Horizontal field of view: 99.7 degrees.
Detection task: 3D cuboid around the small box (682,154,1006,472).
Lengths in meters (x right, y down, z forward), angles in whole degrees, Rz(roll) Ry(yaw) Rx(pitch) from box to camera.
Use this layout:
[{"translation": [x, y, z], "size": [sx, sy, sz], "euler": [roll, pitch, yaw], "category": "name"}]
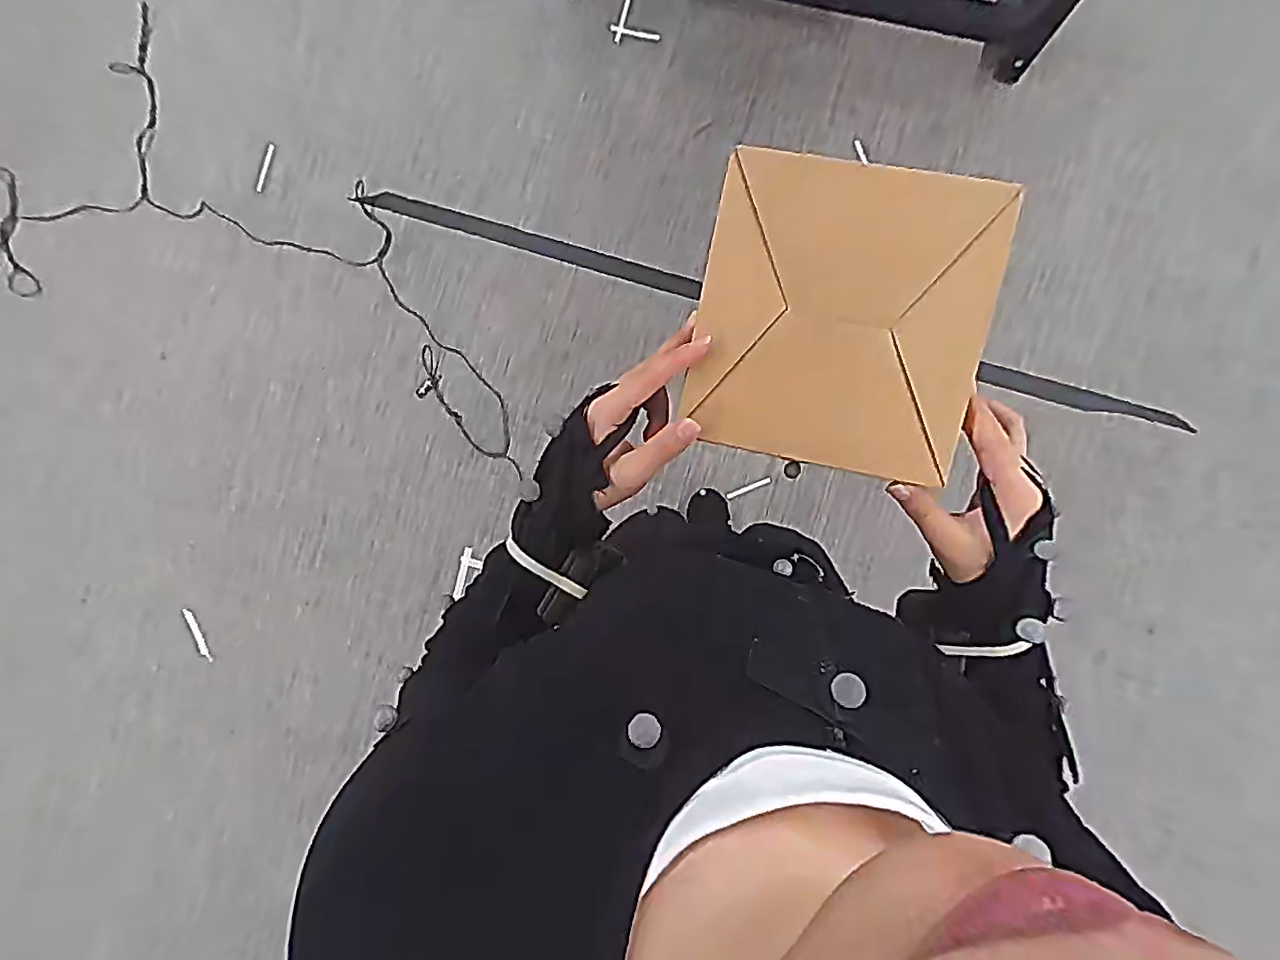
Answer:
[{"translation": [0.129, -0.104, 0.403], "size": [0.168, 0.176, 0.179], "euler": [12, 96, 6], "category": "small box"}]
